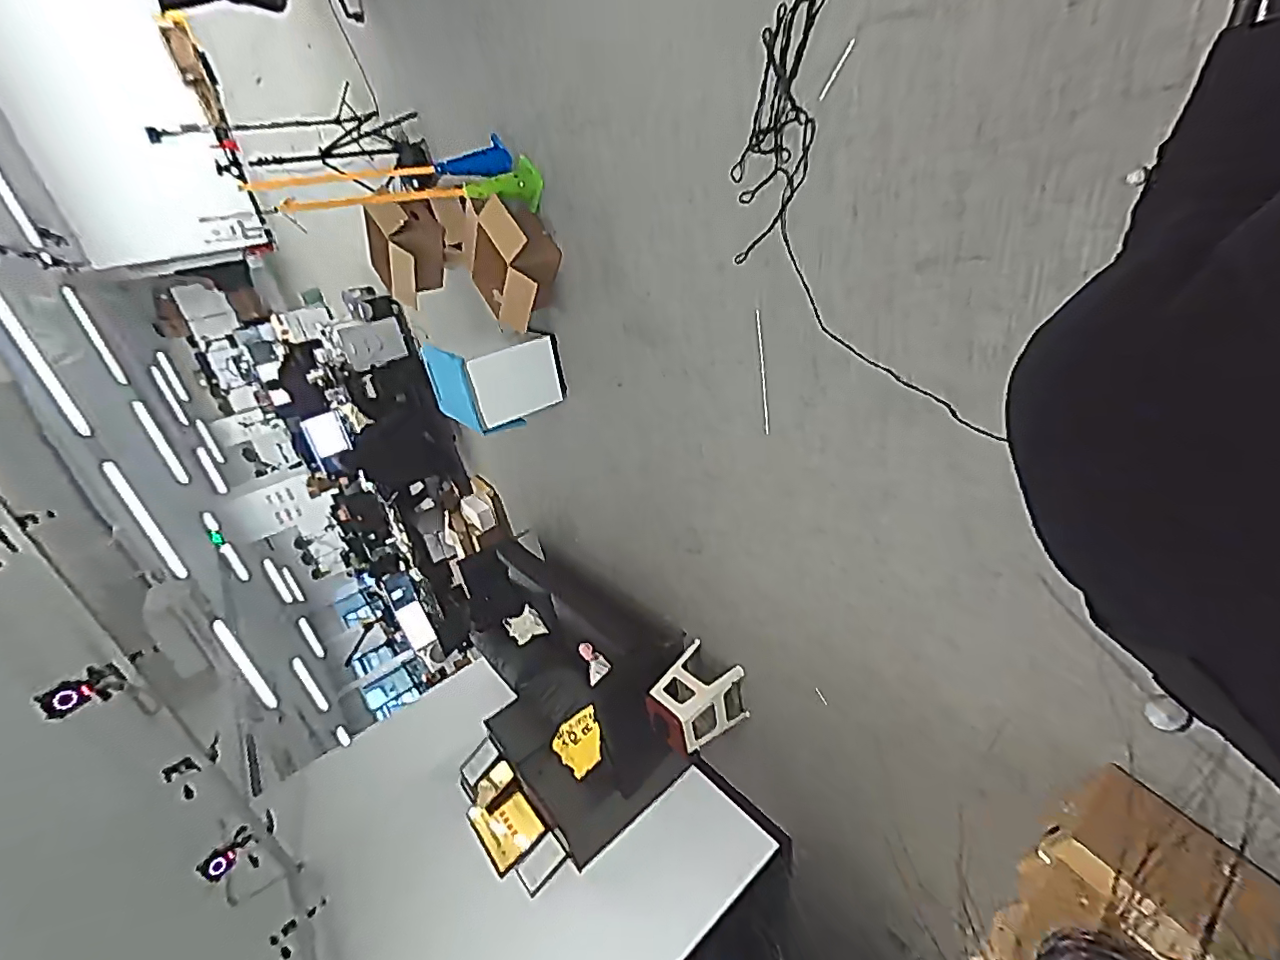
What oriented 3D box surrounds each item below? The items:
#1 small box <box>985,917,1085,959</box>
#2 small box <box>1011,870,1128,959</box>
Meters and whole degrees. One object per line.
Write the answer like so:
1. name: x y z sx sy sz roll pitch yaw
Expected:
1. small box: 1.015 1.256 1.372 0.179 0.176 0.168 41 145 33
2. small box: 1.146 1.195 1.446 0.168 0.176 0.179 40 144 34
